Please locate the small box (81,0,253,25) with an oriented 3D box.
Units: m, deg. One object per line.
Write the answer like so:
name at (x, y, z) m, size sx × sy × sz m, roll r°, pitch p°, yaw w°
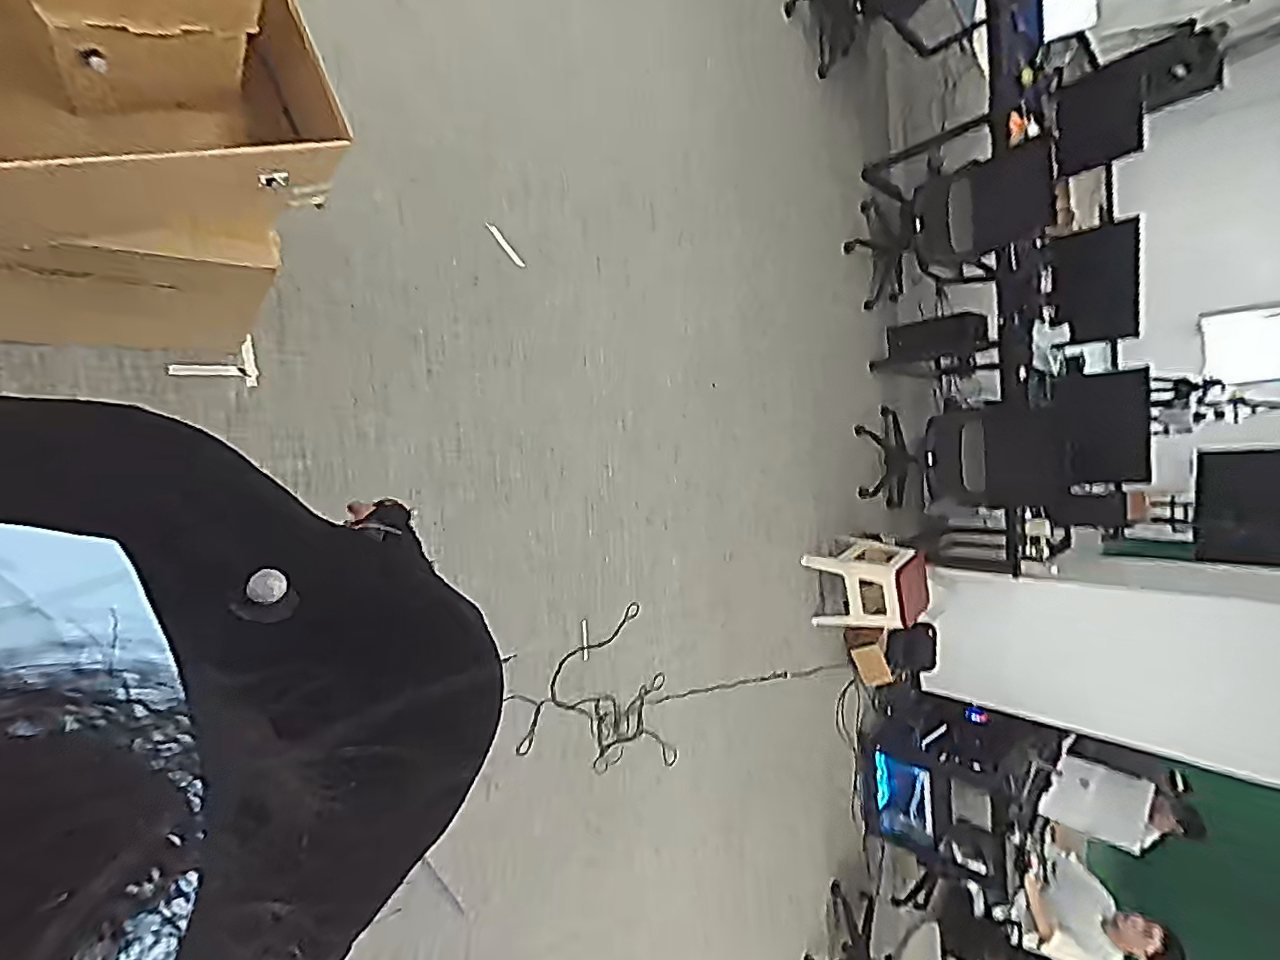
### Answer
small box at (-0.443, -0.529, 0.450) m, size 0.179 × 0.176 × 0.168 m, roll -26°, pitch 107°, yaw -38°
